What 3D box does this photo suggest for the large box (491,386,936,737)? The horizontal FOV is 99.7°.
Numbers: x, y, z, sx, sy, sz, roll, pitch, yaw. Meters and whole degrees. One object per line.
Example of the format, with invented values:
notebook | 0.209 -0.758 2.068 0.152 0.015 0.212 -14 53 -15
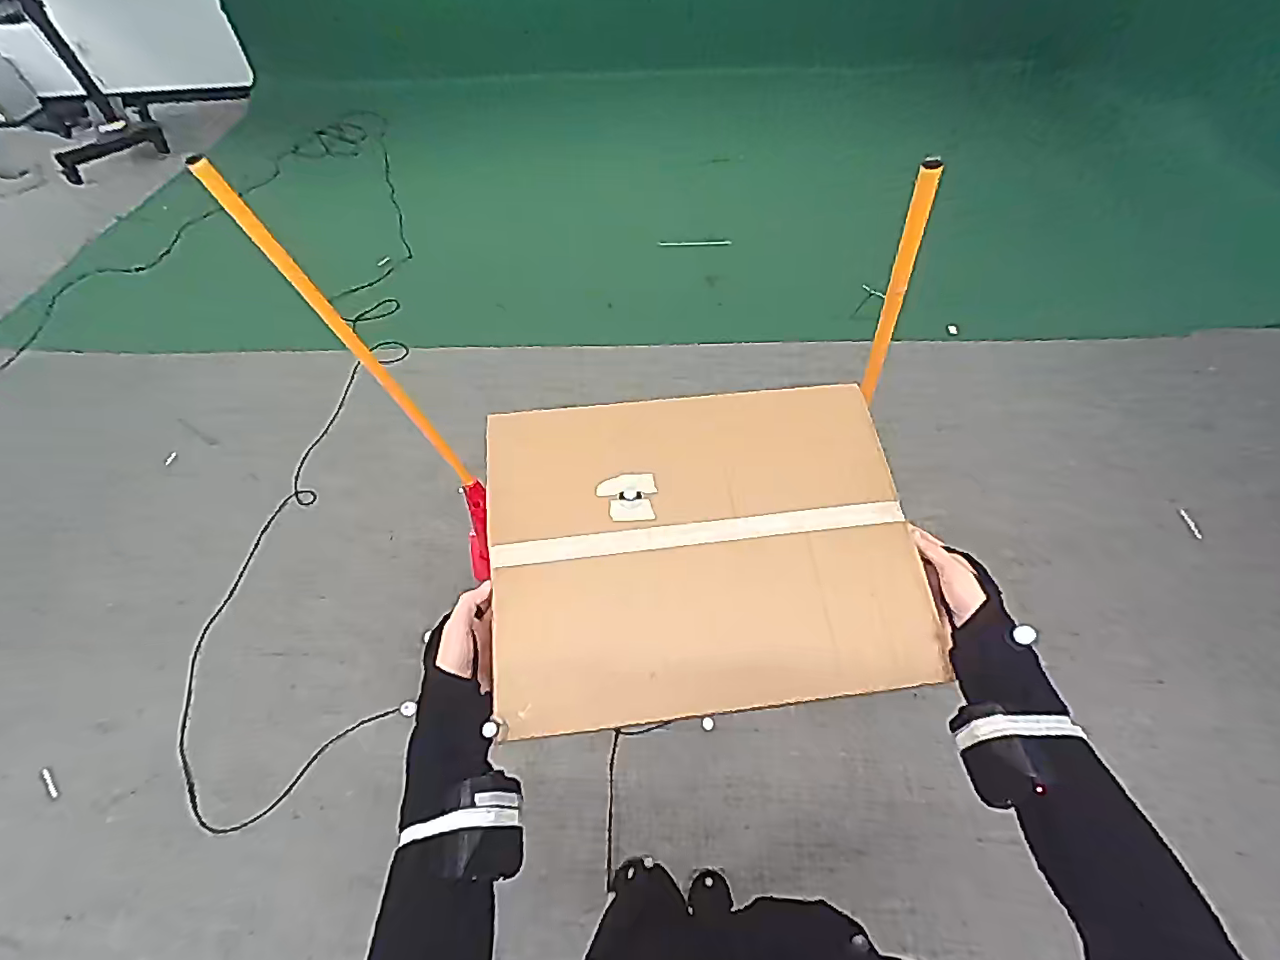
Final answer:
large box | 0.056 0.114 0.673 0.408 0.320 0.320 -7 66 -4
